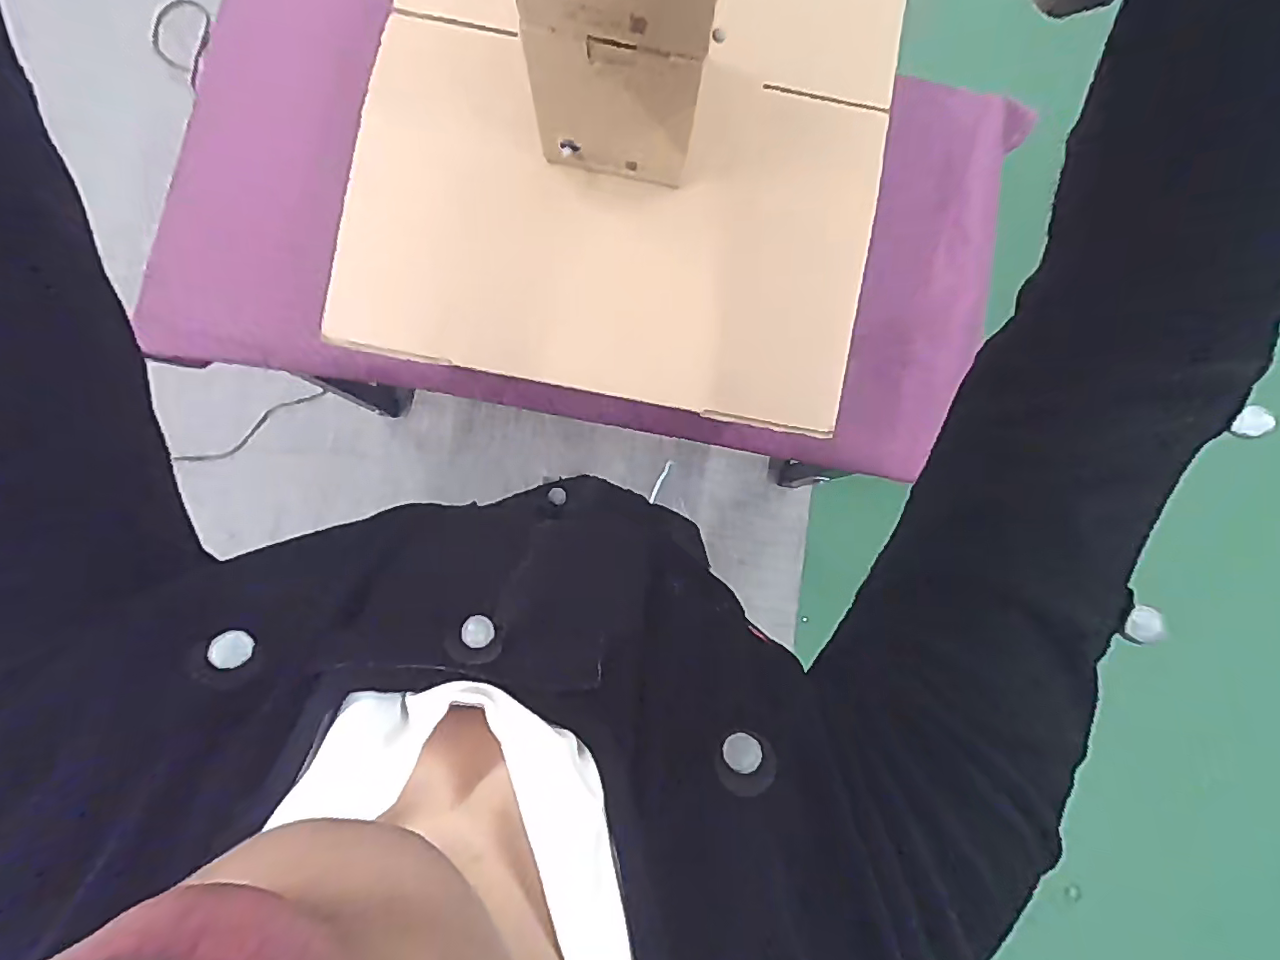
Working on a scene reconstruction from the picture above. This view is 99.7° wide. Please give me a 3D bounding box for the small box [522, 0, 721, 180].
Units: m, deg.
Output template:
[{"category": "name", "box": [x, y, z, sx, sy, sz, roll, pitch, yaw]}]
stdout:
[{"category": "small box", "box": [-0.010, -0.449, 0.558, 0.168, 0.176, 0.179, 11, 83, -1]}]
